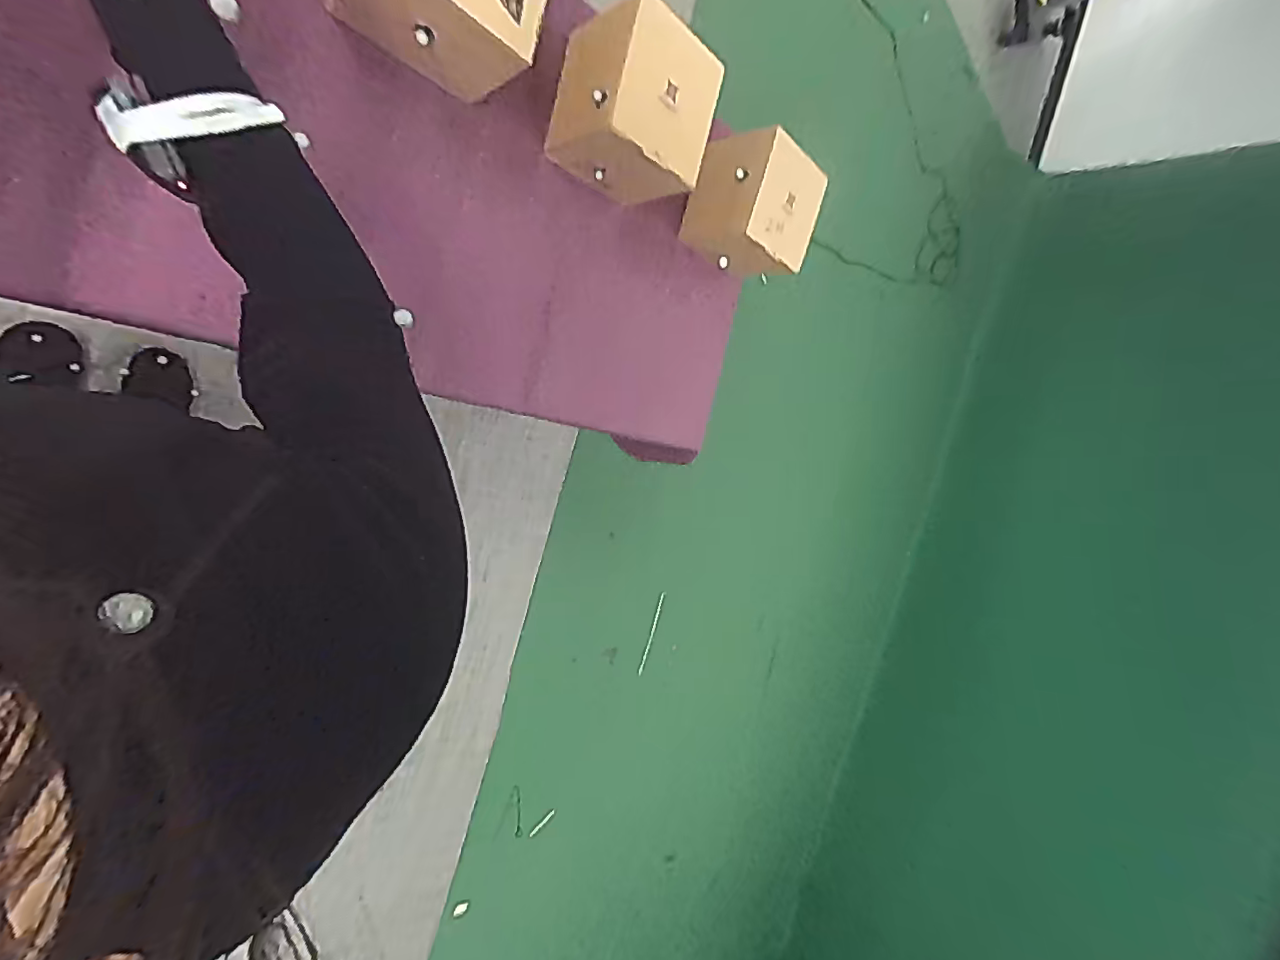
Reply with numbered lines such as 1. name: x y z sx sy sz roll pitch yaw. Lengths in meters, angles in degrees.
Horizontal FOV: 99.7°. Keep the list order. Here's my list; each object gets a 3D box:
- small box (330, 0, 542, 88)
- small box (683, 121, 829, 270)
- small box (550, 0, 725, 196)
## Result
1. small box: -0.215 -0.572 0.591 0.179 0.176 0.168 12 96 -41
2. small box: 0.203 -0.496 0.973 0.168 0.176 0.179 12 98 -42
3. small box: -0.009 -0.542 0.782 0.168 0.176 0.179 9 98 -42
